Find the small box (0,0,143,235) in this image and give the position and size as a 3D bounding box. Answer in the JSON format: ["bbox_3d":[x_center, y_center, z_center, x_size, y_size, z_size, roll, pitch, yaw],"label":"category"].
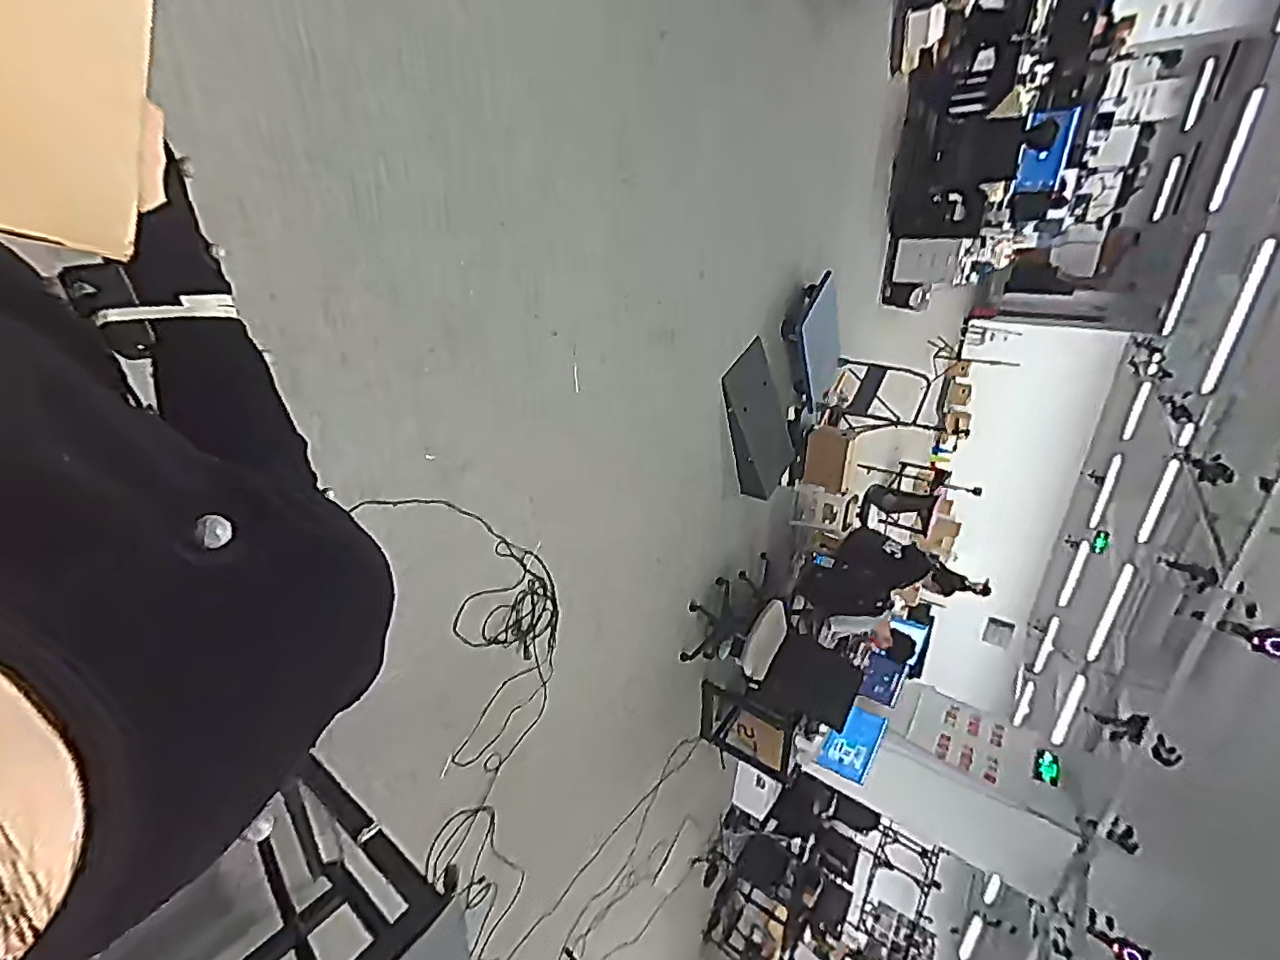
[{"bbox_3d":[-0.395,-0.251,0.270,0.168,0.176,0.179,-5,114,-63],"label":"small box"}]
